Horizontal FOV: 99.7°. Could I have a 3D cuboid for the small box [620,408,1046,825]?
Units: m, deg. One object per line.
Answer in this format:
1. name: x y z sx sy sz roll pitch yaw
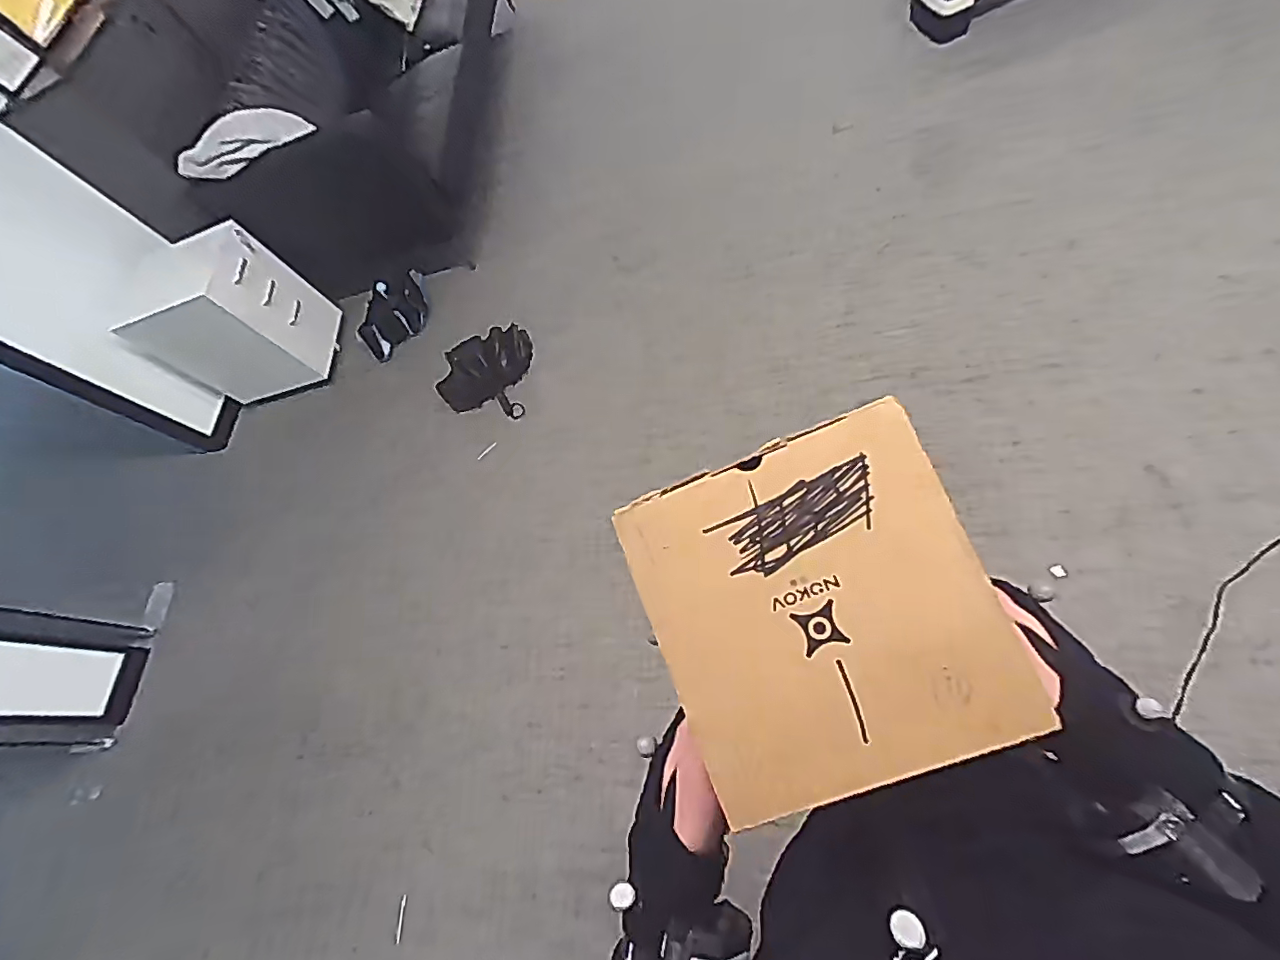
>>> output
1. small box: 0.103 0.078 0.357 0.168 0.176 0.179 -21 80 7
